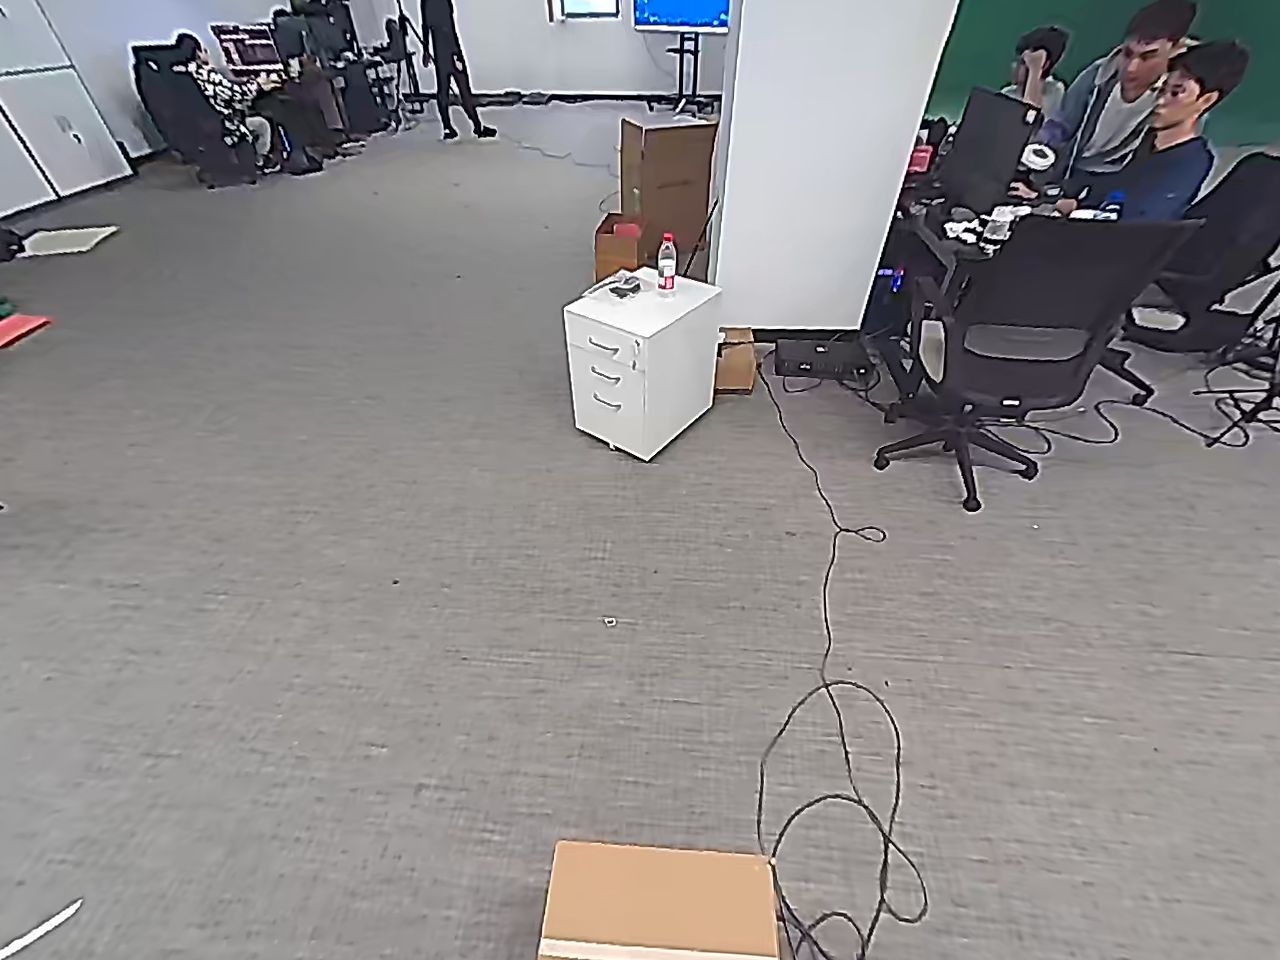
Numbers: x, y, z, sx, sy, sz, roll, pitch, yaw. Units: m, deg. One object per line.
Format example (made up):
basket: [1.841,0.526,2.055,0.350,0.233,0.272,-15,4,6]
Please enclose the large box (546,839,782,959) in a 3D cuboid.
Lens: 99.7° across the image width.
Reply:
large box: [0.041,0.908,1.011,0.408,0.320,0.320,2,42,4]
